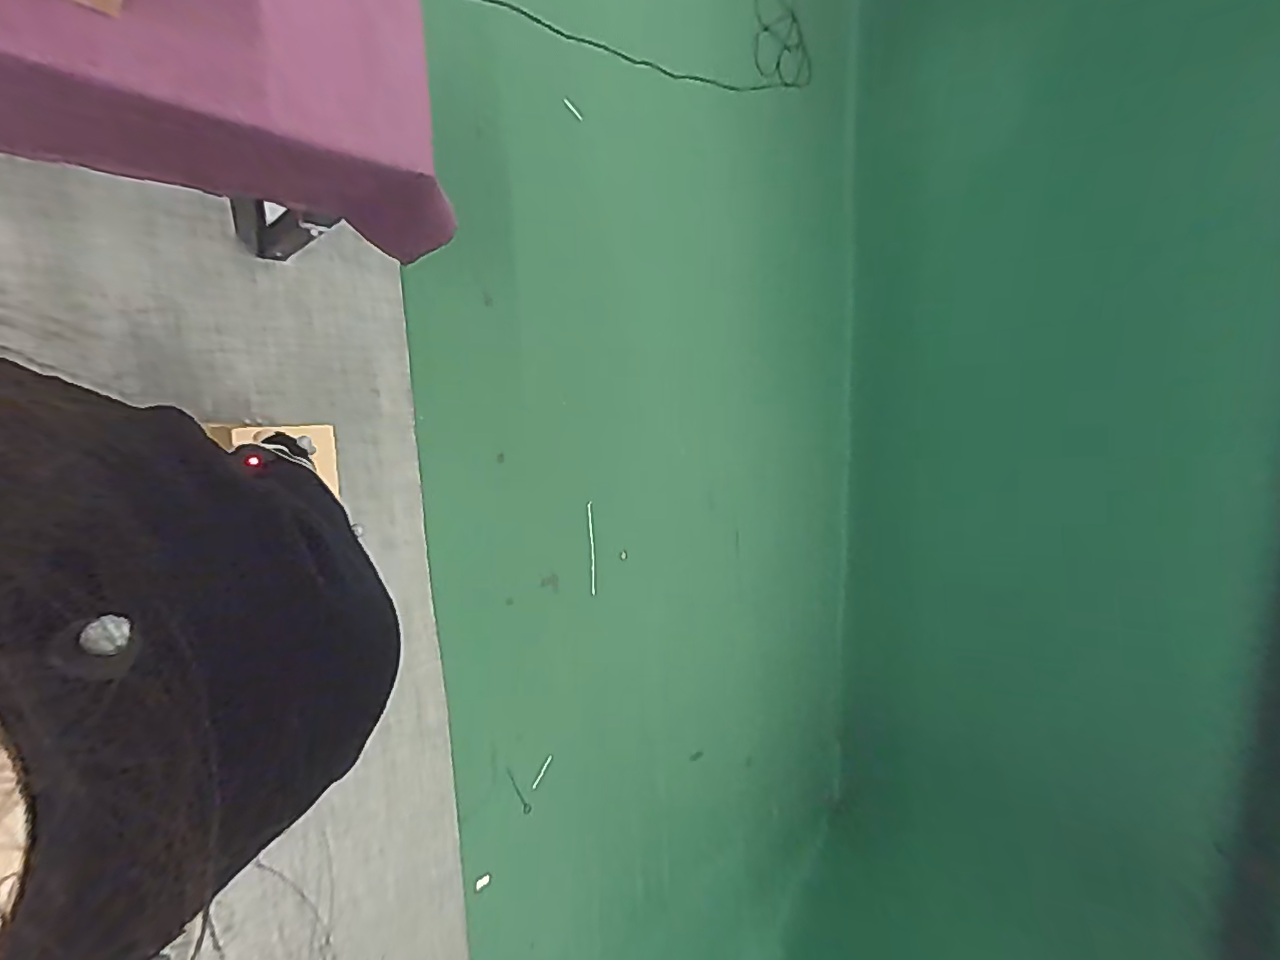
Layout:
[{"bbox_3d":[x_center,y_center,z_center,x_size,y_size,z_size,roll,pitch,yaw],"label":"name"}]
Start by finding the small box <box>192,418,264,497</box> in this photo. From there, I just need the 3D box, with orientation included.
[{"bbox_3d":[-0.886,-0.054,1.219,0.179,0.176,0.168,-6,99,-49],"label":"small box"}]

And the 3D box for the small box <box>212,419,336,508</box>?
[{"bbox_3d":[-0.759,-0.040,1.117,0.179,0.176,0.168,-10,103,-48],"label":"small box"}]
